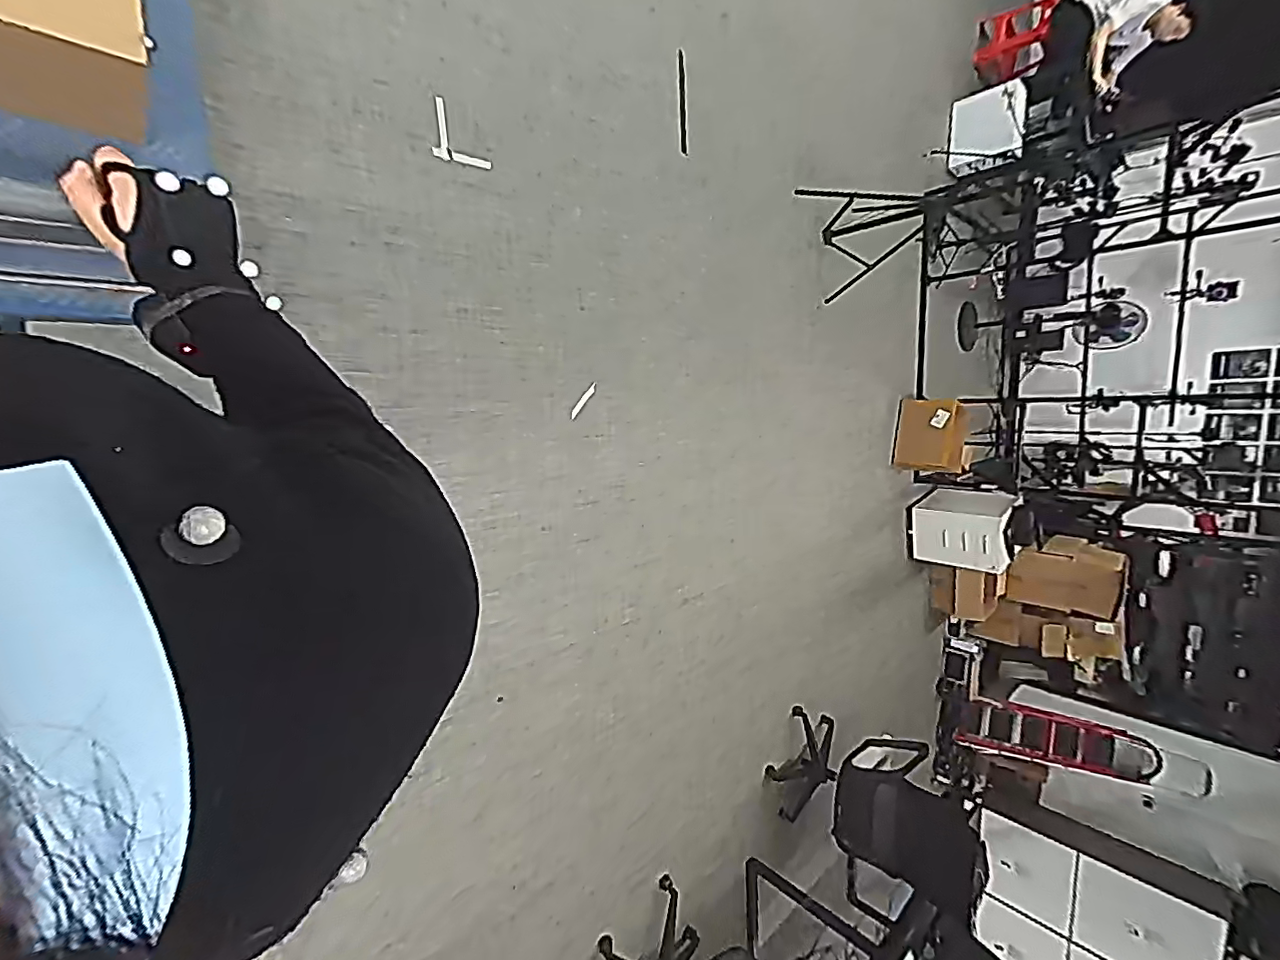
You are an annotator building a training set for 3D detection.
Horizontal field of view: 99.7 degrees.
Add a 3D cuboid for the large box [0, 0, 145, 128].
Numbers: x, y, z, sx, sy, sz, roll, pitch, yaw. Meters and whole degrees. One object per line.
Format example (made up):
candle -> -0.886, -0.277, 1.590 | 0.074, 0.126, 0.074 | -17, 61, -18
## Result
large box -> -0.938, -0.735, 0.705 | 0.408, 0.320, 0.320 | -7, 99, -42
